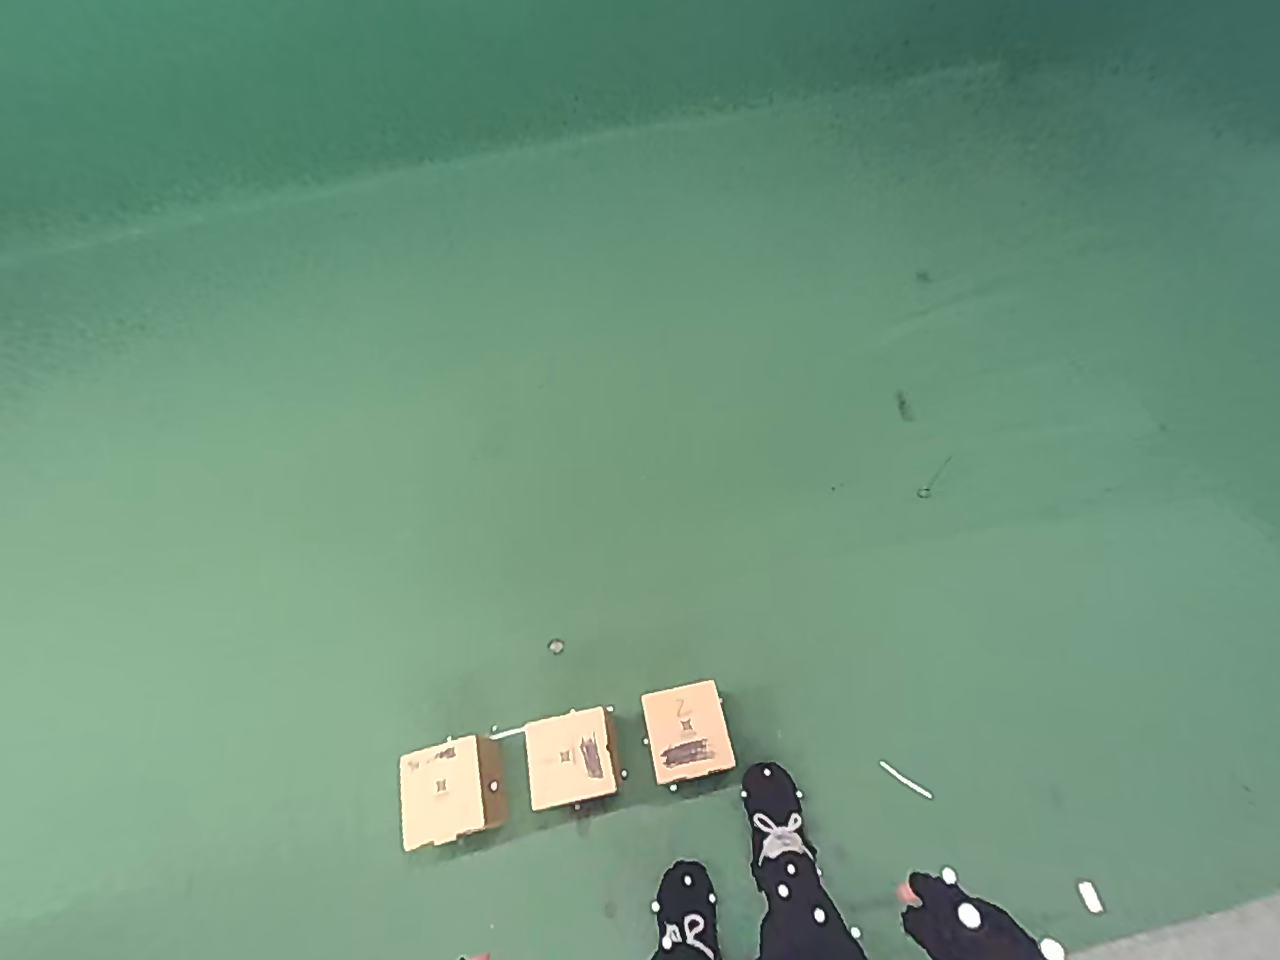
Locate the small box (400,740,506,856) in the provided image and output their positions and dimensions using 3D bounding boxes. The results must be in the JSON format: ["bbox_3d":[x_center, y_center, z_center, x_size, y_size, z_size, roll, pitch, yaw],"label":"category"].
[{"bbox_3d":[-0.400,0.680,1.172,0.168,0.176,0.179,-15,62,-4],"label":"small box"}]
